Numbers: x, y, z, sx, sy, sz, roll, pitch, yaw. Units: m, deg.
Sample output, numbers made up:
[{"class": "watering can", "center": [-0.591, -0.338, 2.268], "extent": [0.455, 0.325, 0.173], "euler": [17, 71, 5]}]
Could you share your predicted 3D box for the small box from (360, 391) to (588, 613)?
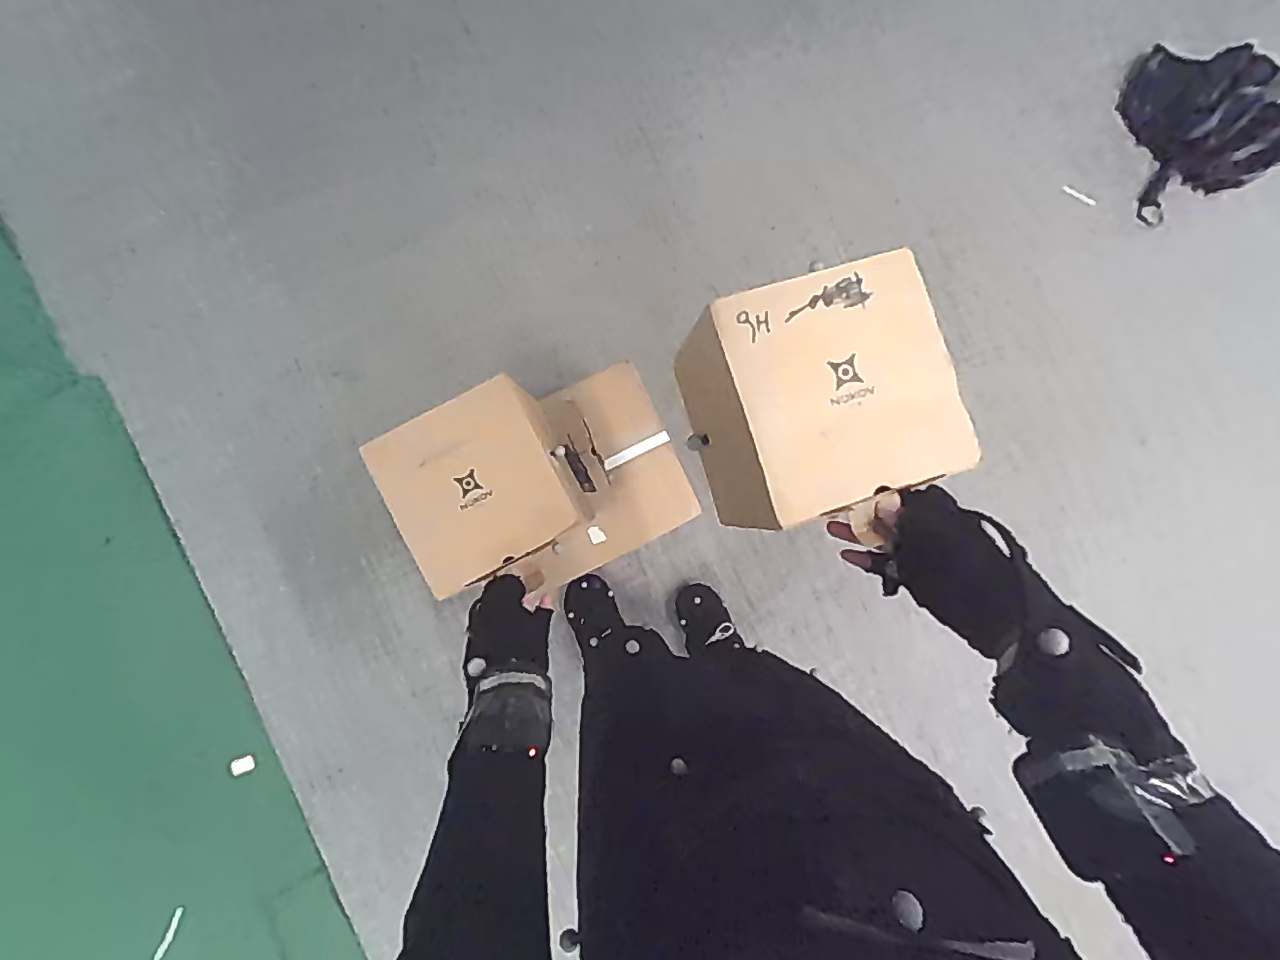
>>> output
[{"class": "small box", "center": [-0.171, 0.022, 0.622], "extent": [0.168, 0.176, 0.179], "euler": [-29, 90, -1]}]

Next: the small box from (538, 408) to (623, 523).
[{"class": "small box", "center": [-0.147, -0.003, 0.862], "extent": [0.179, 0.176, 0.168], "euler": [-27, 96, -5]}]

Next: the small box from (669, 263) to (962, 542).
[{"class": "small box", "center": [0.136, -0.058, 0.483], "extent": [0.168, 0.176, 0.179], "euler": [-18, 89, -6]}]
